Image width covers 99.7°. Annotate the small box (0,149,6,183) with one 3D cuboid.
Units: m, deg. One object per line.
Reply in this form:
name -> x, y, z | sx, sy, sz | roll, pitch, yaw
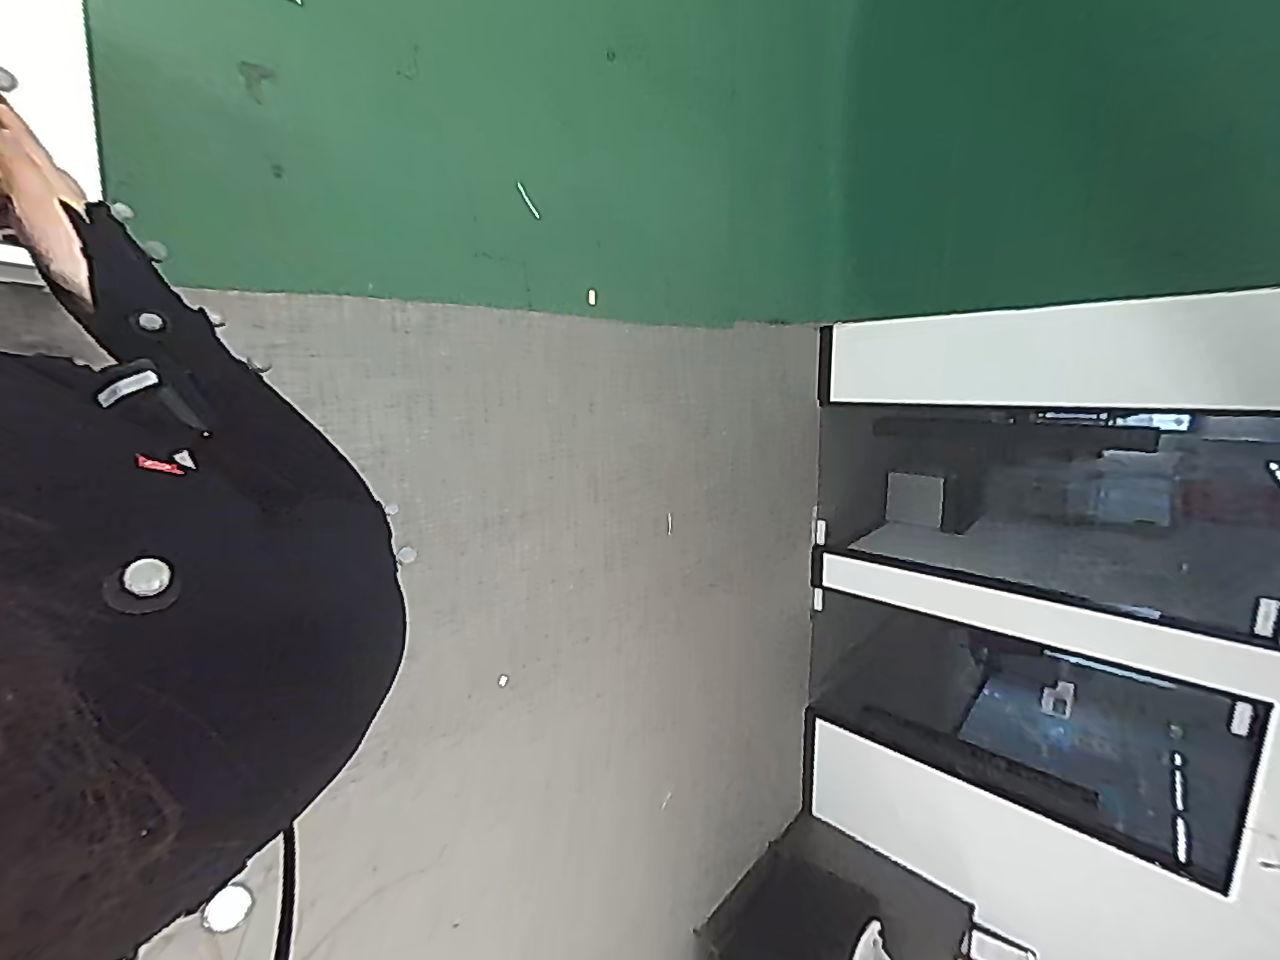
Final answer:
small box -> -0.450, -0.243, 0.253 | 0.179, 0.176, 0.168 | -14, 114, -46
